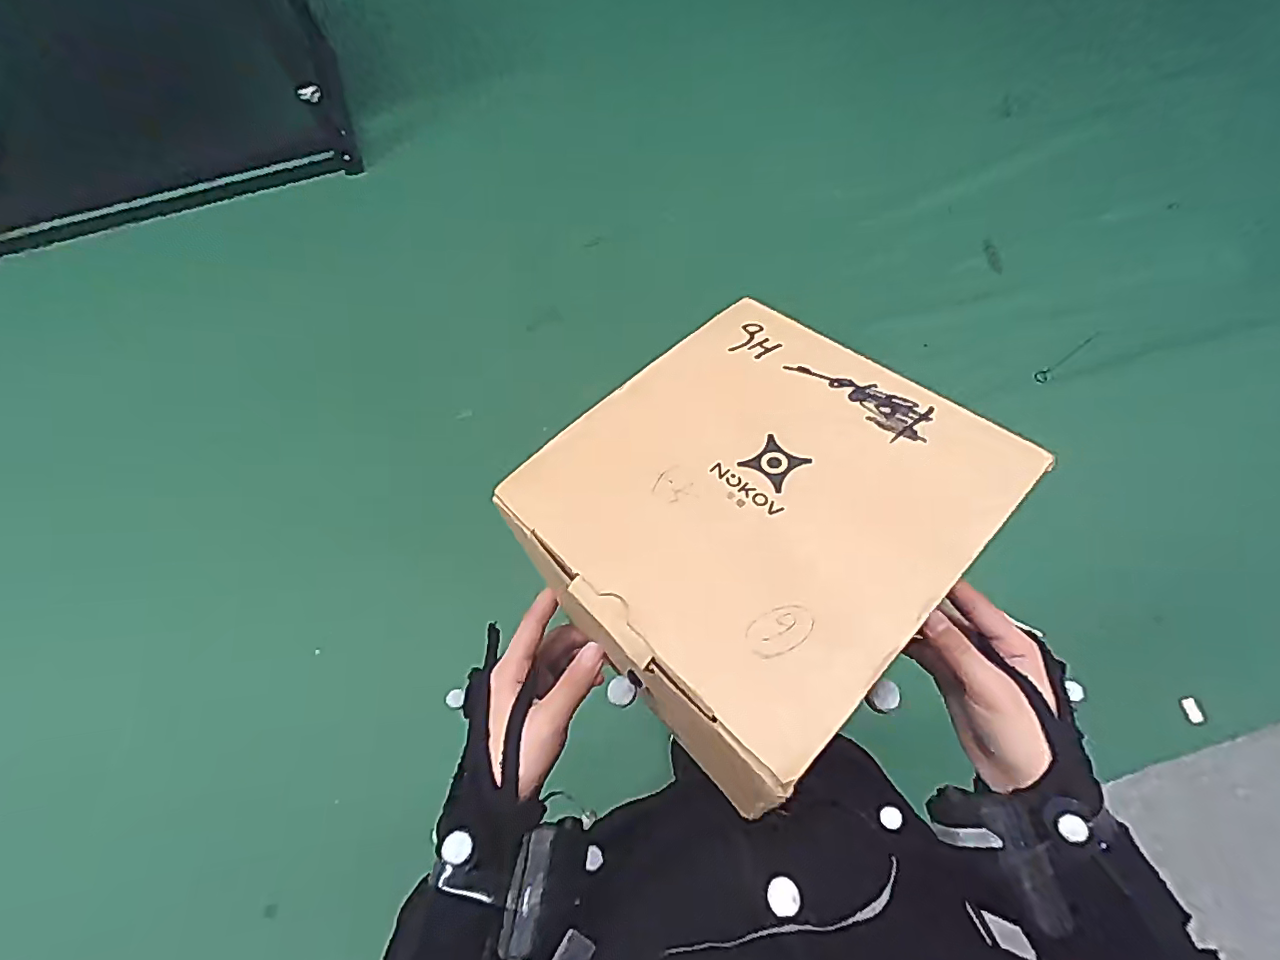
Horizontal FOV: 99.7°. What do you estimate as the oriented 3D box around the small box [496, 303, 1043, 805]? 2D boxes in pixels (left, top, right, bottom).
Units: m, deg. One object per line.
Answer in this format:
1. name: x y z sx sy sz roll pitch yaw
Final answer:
1. small box: 0.060 0.045 0.297 0.179 0.176 0.168 -40 59 -18
